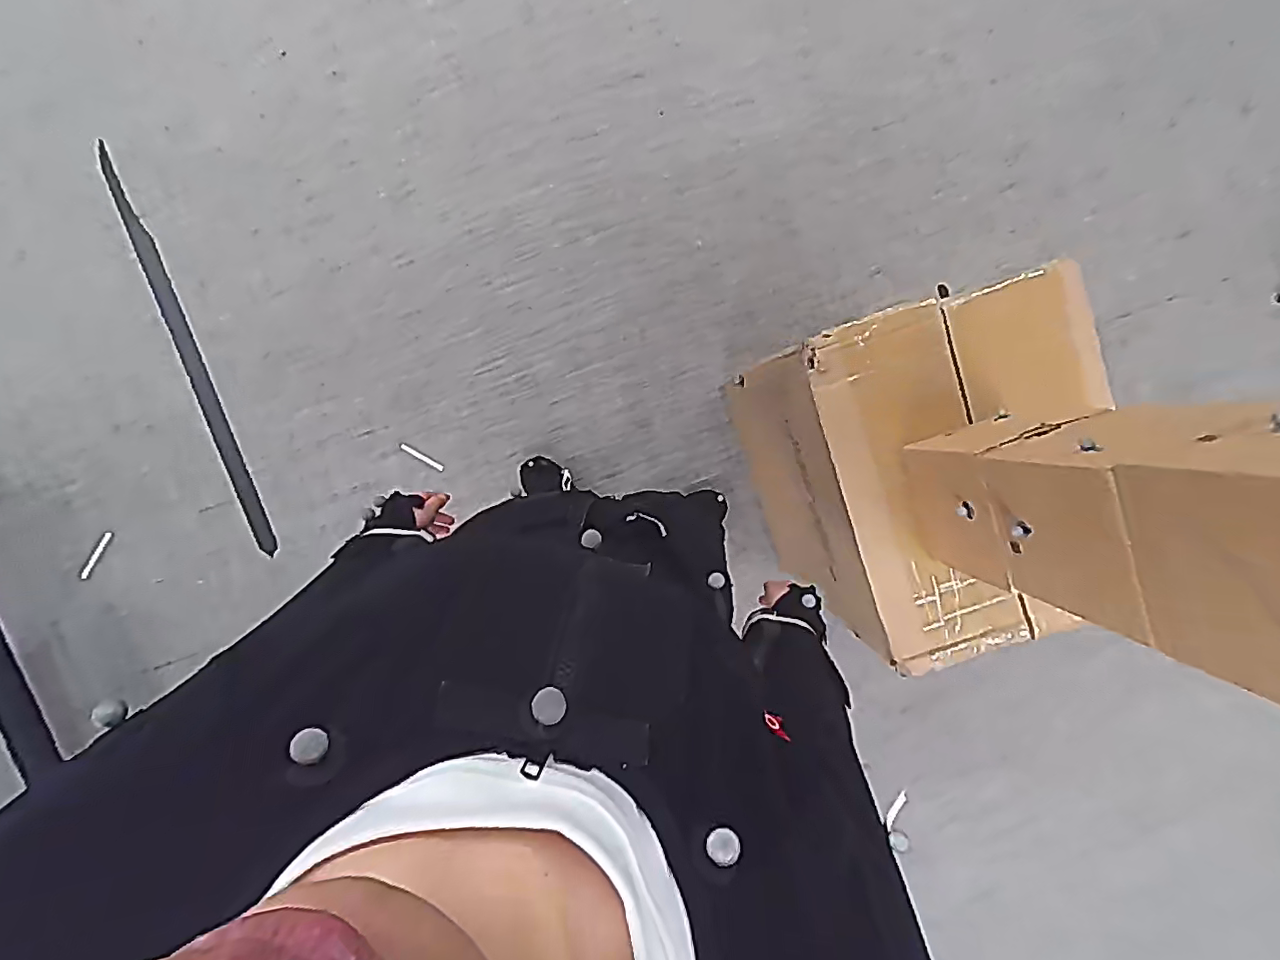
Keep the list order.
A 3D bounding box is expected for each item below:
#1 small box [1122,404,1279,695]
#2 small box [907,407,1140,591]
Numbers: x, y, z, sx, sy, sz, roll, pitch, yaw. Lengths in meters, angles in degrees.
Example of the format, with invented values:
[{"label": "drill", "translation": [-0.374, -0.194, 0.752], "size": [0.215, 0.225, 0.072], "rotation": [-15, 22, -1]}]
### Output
[{"label": "small box", "translation": [0.488, 0.046, 0.364], "size": [0.168, 0.176, 0.179], "rotation": [-18, 95, 1]}, {"label": "small box", "translation": [0.475, 0.016, 0.692], "size": [0.168, 0.176, 0.179], "rotation": [-18, 96, 1]}]
